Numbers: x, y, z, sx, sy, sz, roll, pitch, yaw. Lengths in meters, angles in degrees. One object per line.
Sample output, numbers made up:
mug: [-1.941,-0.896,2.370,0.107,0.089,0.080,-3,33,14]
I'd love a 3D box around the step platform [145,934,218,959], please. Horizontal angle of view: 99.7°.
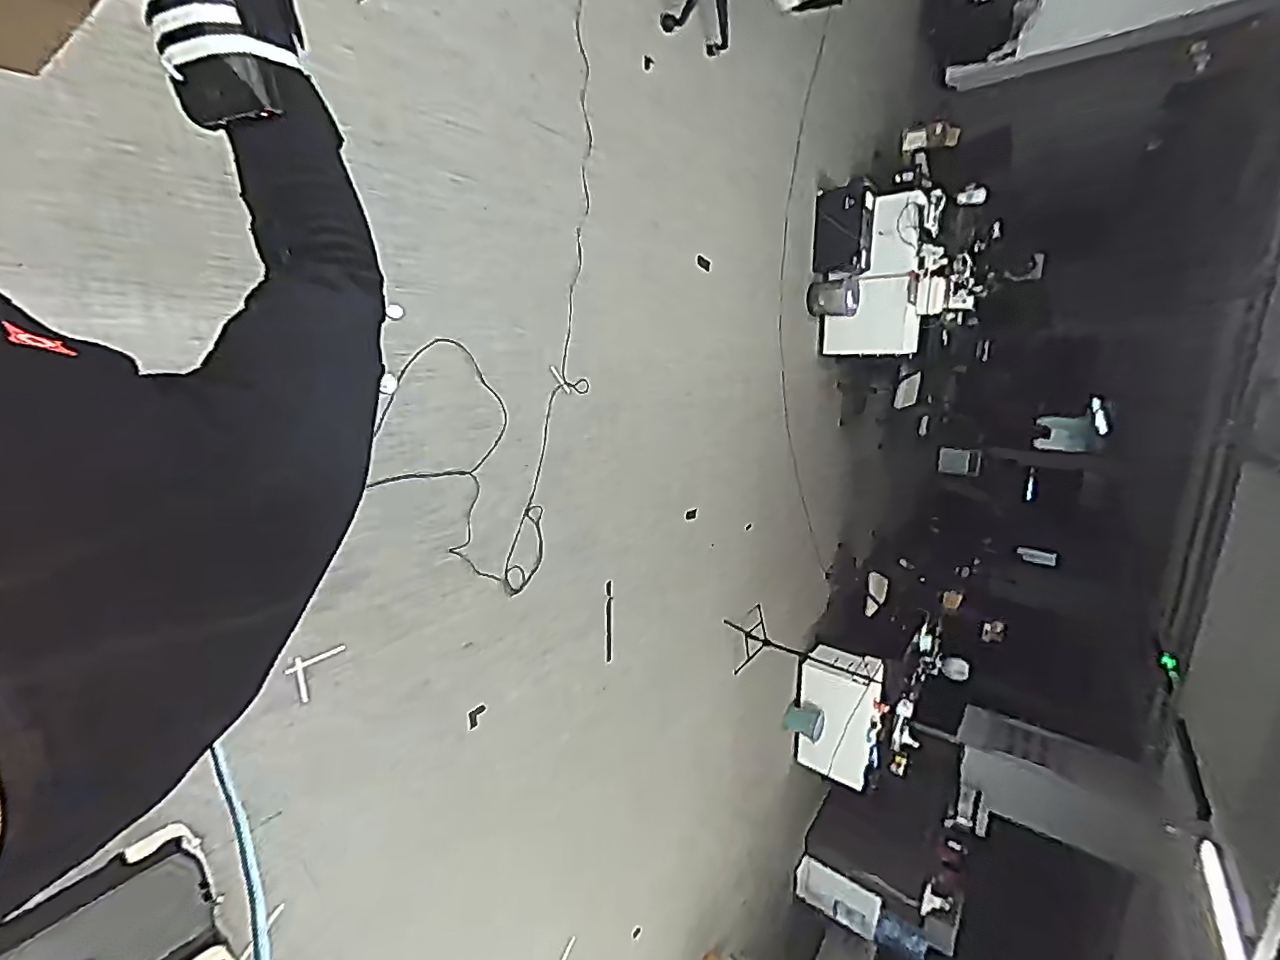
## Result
step platform: [-1.225,1.322,1.074,0.684,0.204,0.286,-21,114,-48]

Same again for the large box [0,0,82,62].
large box: [-0.540,-0.434,0.204,0.408,0.320,0.320,-25,121,-51]
